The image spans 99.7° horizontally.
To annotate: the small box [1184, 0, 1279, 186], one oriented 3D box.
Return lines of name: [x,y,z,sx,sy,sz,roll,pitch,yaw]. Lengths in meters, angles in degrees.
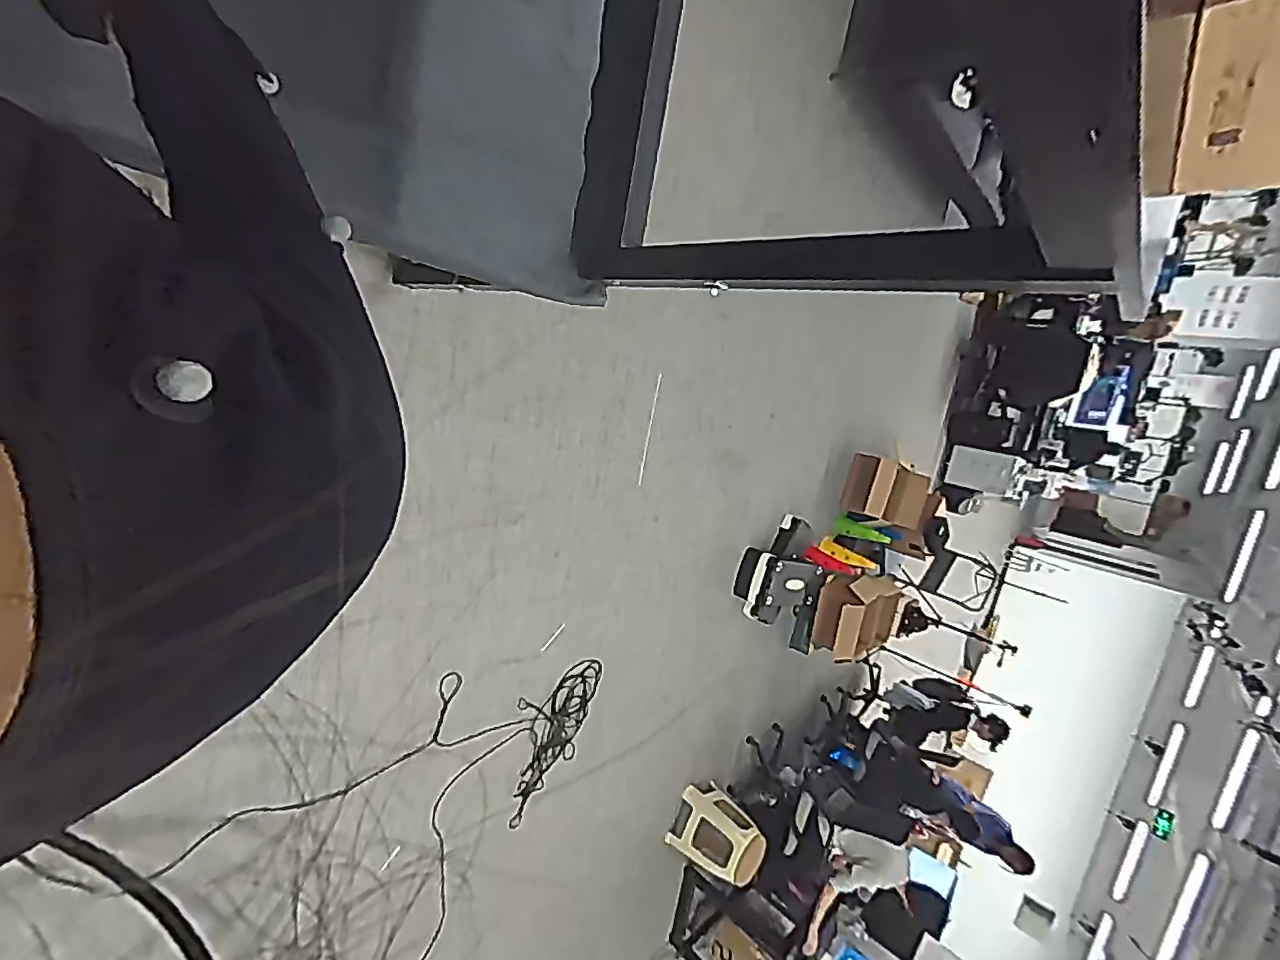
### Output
small box: [0.409,-0.274,0.263,0.168,0.176,0.179,17,92,-49]
